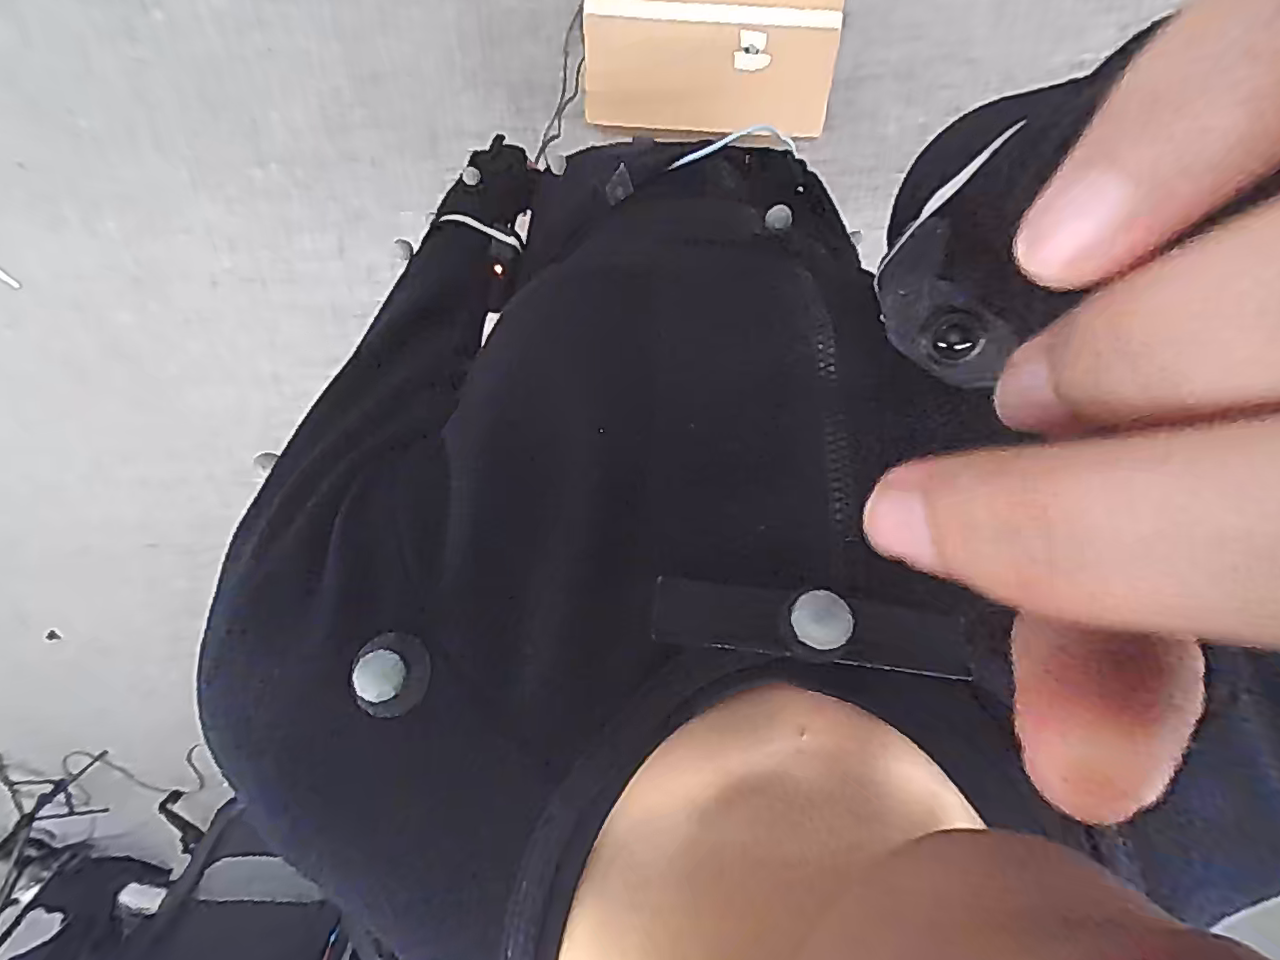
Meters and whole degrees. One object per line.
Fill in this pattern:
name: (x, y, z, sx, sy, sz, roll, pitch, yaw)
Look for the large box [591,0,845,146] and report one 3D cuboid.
large box: (0.120, -0.806, 0.987, 0.408, 0.320, 0.320, 3, 121, -2)
